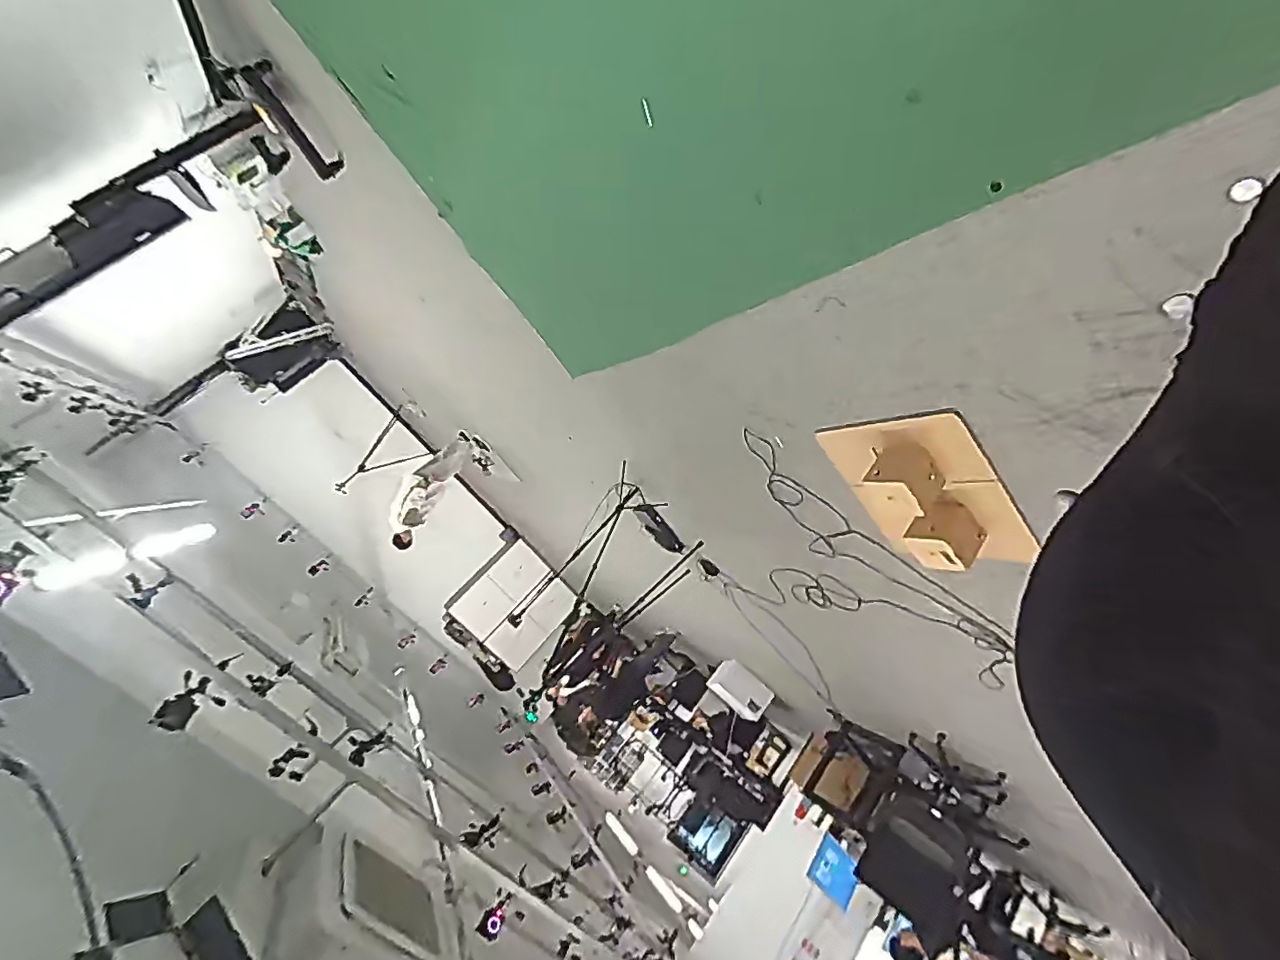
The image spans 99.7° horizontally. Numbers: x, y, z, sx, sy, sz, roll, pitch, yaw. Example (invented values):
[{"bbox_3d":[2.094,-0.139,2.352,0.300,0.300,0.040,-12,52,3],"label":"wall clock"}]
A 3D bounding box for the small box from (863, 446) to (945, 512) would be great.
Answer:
[{"bbox_3d":[0.937,-0.006,1.915,0.168,0.176,0.179,49,158,-21],"label":"small box"}]

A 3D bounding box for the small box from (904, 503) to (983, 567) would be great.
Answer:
[{"bbox_3d":[1.119,0.196,1.979,0.168,0.176,0.179,48,160,-15],"label":"small box"}]
